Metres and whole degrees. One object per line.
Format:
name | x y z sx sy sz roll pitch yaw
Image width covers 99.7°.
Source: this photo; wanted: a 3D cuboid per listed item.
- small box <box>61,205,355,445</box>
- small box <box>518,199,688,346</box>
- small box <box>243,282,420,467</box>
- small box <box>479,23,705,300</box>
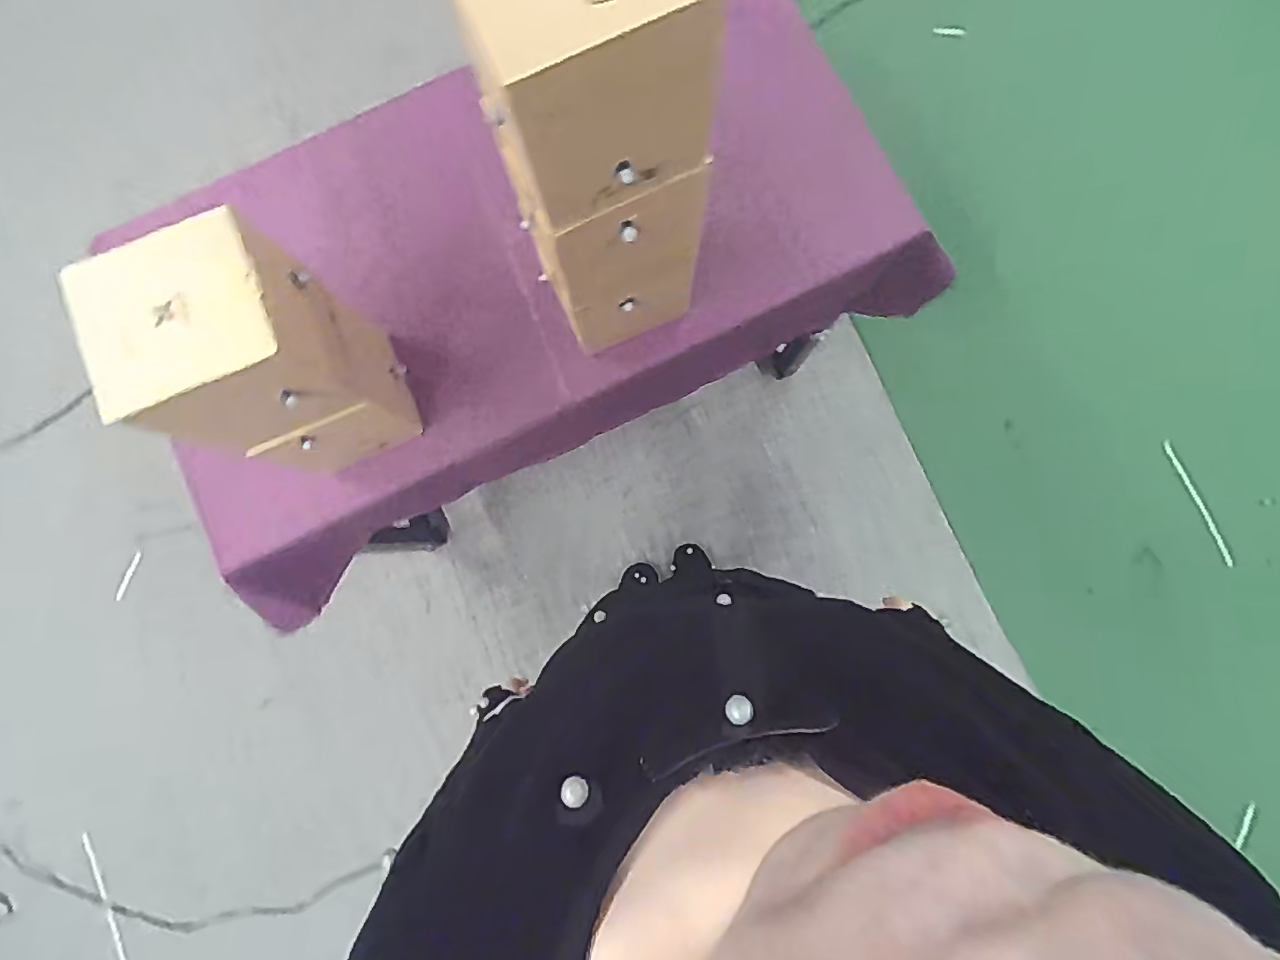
small box | -0.446 -0.154 0.593 0.179 0.176 0.168 -23 83 -1
small box | -0.045 -0.315 0.764 0.179 0.176 0.168 -25 84 -2
small box | -0.442 -0.135 0.755 0.168 0.176 0.179 -24 83 -1
small box | -0.046 -0.334 0.603 0.179 0.176 0.168 -26 84 0
